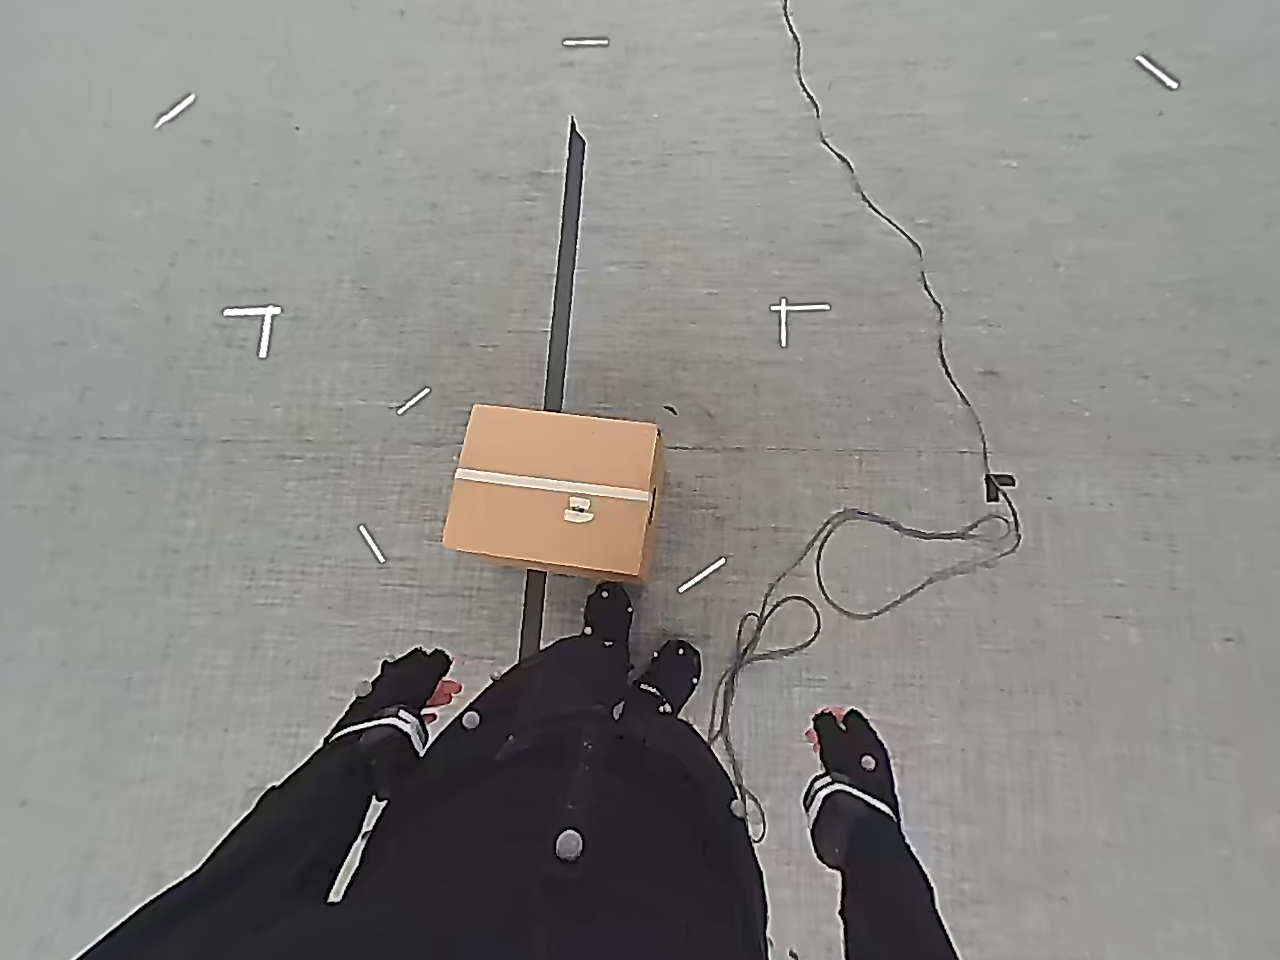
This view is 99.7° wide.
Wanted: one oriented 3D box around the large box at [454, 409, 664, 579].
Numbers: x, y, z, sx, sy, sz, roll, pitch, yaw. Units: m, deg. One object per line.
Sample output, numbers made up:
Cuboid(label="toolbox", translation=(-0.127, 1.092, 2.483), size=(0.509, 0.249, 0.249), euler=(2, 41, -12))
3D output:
Cuboid(label="large box", translation=(-0.159, 0.047, 1.253), size=(0.408, 0.320, 0.320), euler=(6, 76, 5))
